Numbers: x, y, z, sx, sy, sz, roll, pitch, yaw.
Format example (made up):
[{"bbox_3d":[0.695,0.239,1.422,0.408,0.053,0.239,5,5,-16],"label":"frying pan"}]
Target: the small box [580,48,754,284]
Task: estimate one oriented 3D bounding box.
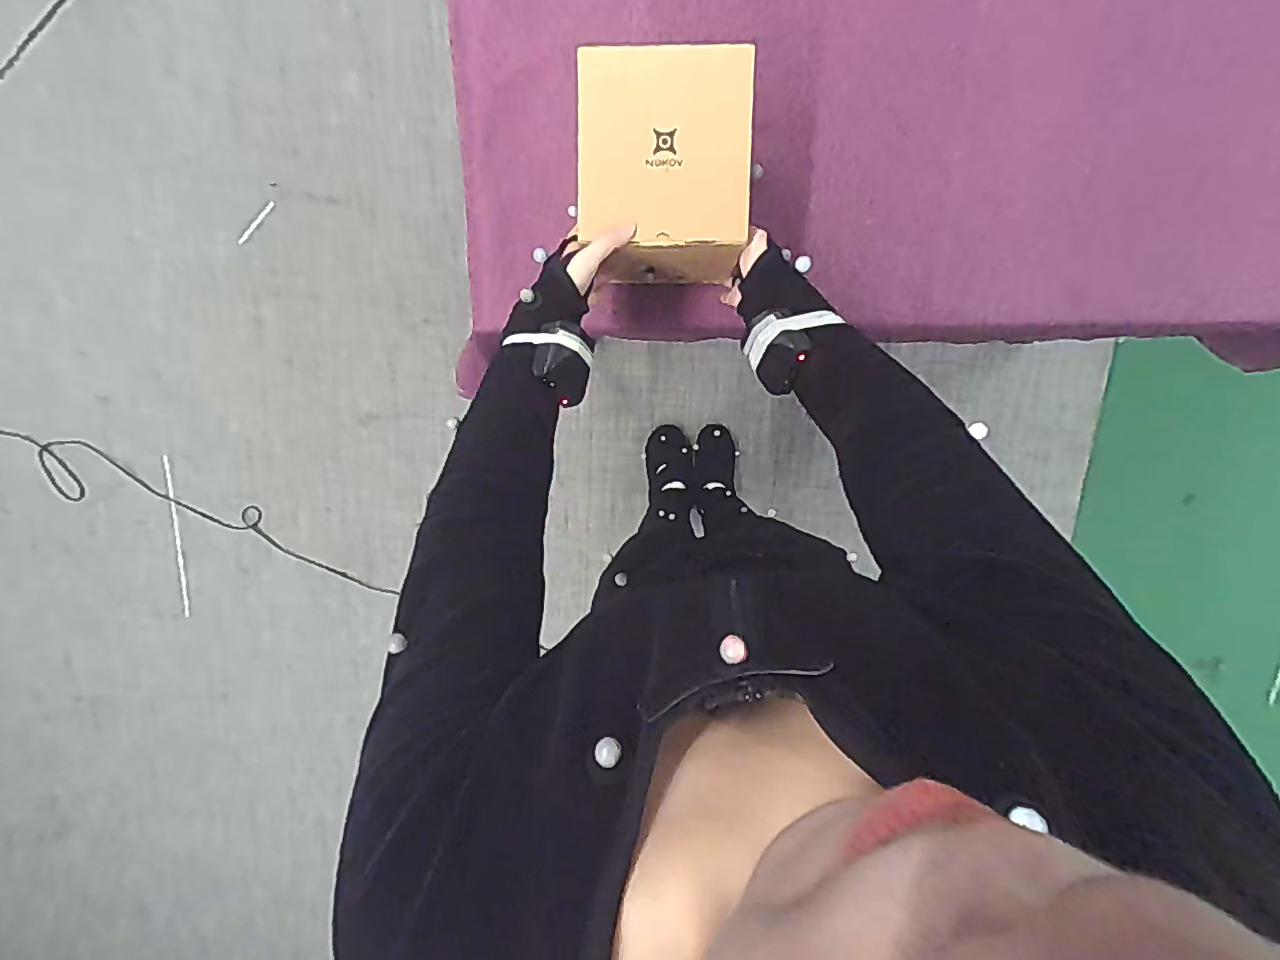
[{"bbox_3d":[0.025,-0.324,0.591,0.168,0.176,0.179,0,99,2],"label":"small box"}]
